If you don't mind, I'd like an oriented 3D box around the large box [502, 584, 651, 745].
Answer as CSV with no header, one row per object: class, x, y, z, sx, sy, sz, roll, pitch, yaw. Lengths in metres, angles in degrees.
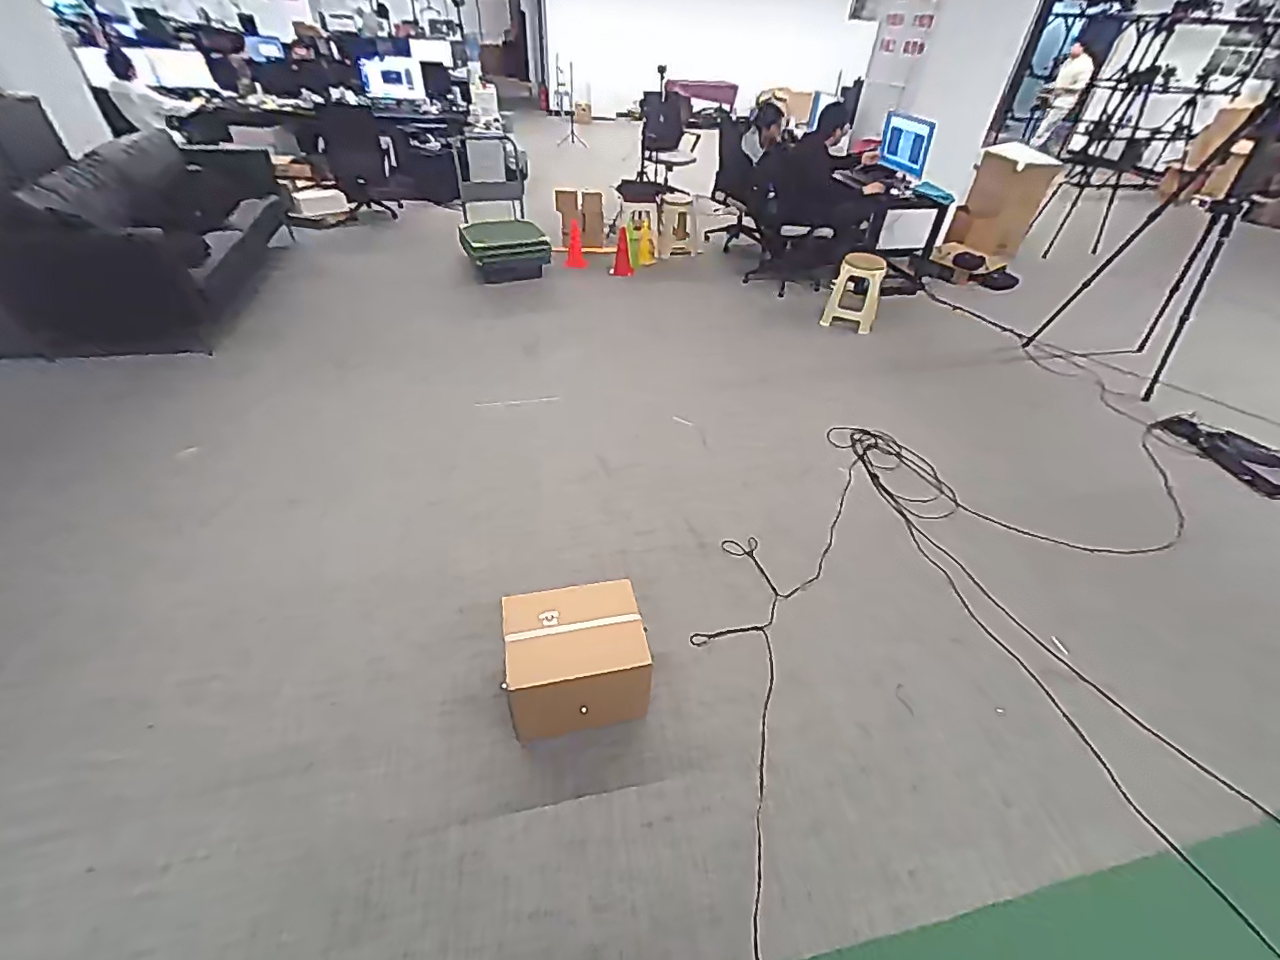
large box,-0.200,0.572,1.689,0.408,0.320,0.320,-8,41,-12
